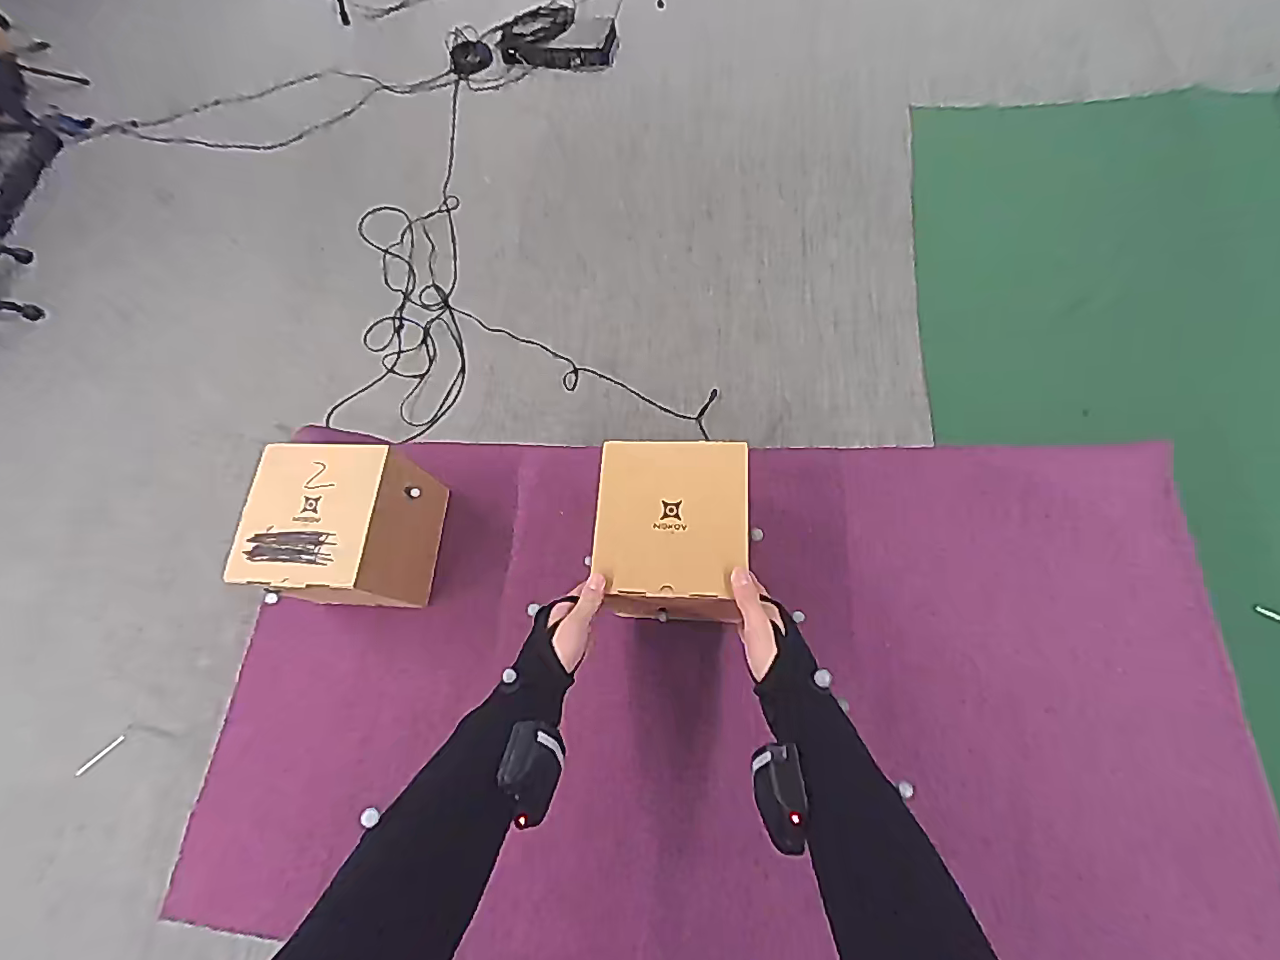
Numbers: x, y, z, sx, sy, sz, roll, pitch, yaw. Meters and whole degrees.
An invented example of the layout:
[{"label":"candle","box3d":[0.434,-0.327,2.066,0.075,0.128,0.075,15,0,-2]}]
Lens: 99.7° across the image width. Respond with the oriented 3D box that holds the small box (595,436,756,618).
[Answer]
[{"label":"small box","box3d":[0.048,0.062,0.649,0.168,0.176,0.179,2,70,7]}]
